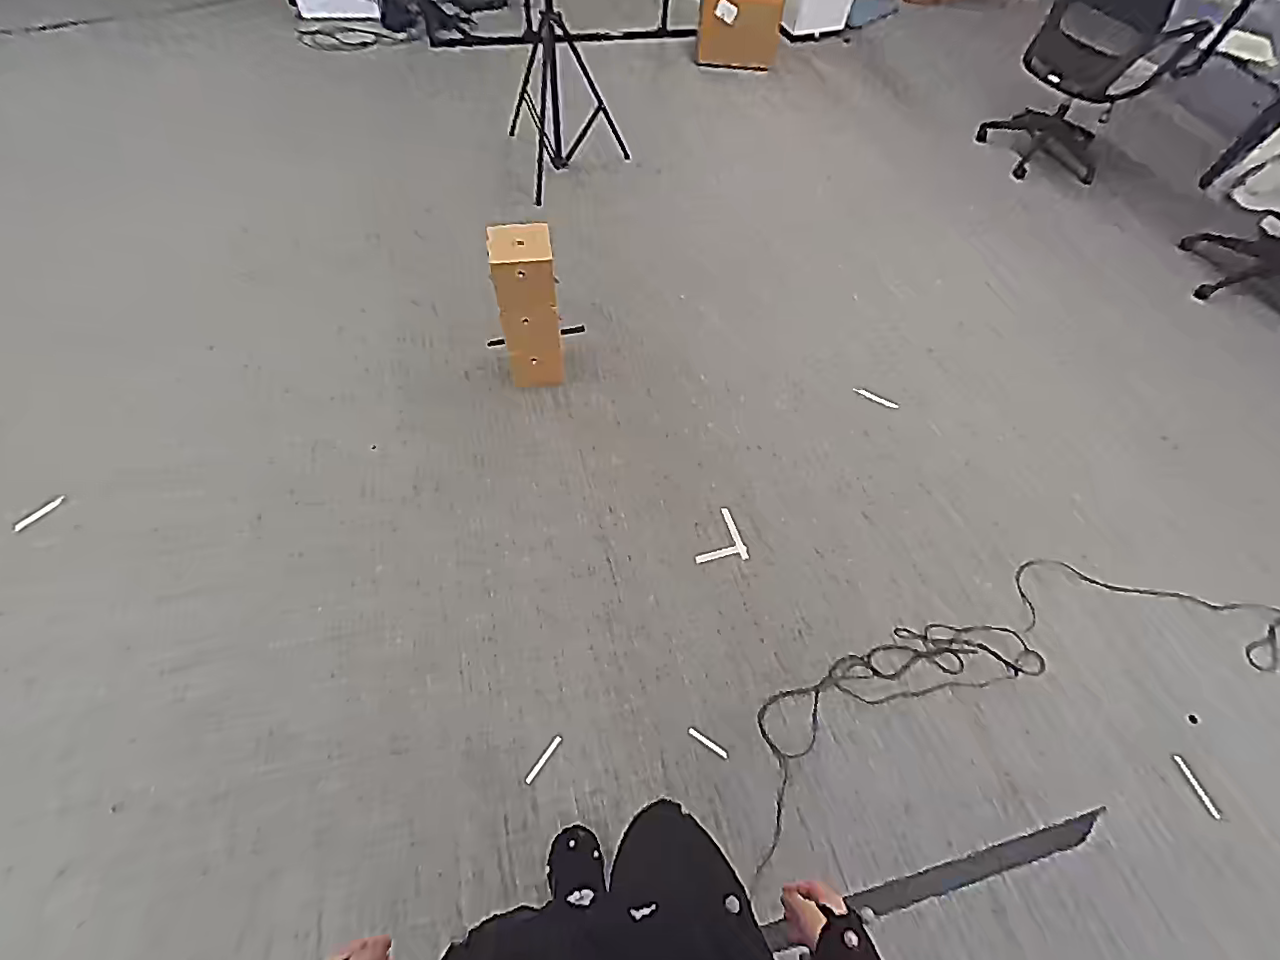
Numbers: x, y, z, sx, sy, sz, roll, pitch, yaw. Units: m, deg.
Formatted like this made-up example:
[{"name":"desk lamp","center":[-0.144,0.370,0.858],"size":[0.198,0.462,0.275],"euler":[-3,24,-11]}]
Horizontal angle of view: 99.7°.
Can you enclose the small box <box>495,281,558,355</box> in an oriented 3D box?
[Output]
[{"name":"small box","center":[-0.359,-0.514,1.721],"size":[0.179,0.176,0.168],"euler":[-5,60,-6]}]

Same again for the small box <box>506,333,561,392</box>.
[{"name":"small box","center":[-0.365,-0.422,1.858],"size":[0.179,0.176,0.168],"euler":[-7,60,-8]}]

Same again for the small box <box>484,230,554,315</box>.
[{"name":"small box","center":[-0.353,-0.604,1.587],"size":[0.179,0.176,0.168],"euler":[-7,60,-8]}]
